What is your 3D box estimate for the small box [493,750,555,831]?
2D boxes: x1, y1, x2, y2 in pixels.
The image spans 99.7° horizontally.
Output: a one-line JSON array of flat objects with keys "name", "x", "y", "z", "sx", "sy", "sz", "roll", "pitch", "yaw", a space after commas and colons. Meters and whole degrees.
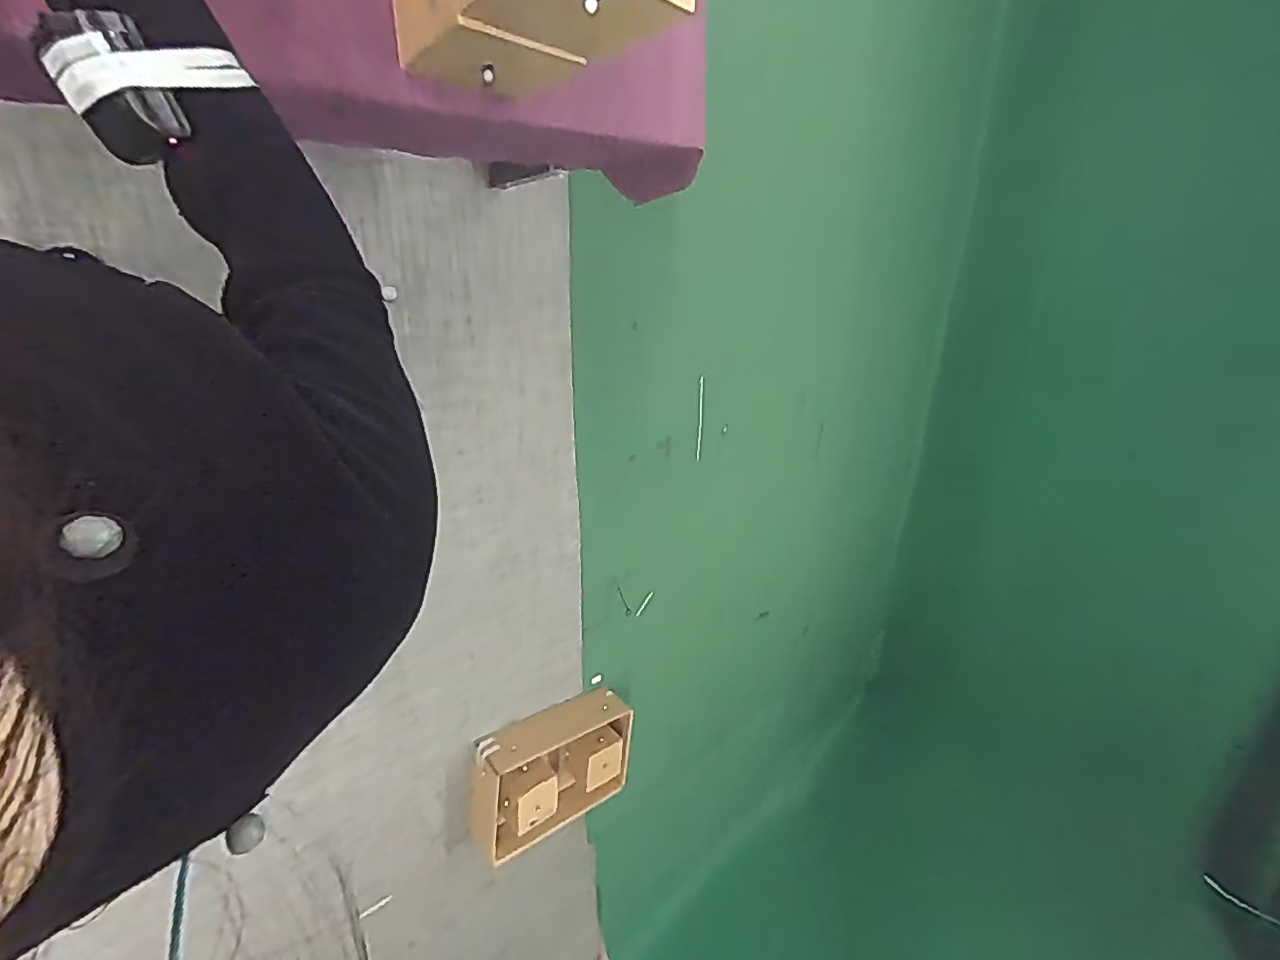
[{"name": "small box", "x": -0.430, "y": 1.134, "z": 1.997, "sx": 0.168, "sy": 0.176, "sz": 0.179, "roll": -11, "pitch": 111, "yaw": -41}]

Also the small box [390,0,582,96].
[{"name": "small box", "x": -0.184, "y": -0.583, "z": 0.636, "sx": 0.168, "sy": 0.176, "sz": 0.179, "roll": -17, "pitch": 116, "yaw": -40}]

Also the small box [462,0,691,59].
[{"name": "small box", "x": -0.067, "y": -0.547, "z": 0.525, "sx": 0.179, "sy": 0.176, "sz": 0.168, "roll": -16, "pitch": 116, "yaw": -41}]
